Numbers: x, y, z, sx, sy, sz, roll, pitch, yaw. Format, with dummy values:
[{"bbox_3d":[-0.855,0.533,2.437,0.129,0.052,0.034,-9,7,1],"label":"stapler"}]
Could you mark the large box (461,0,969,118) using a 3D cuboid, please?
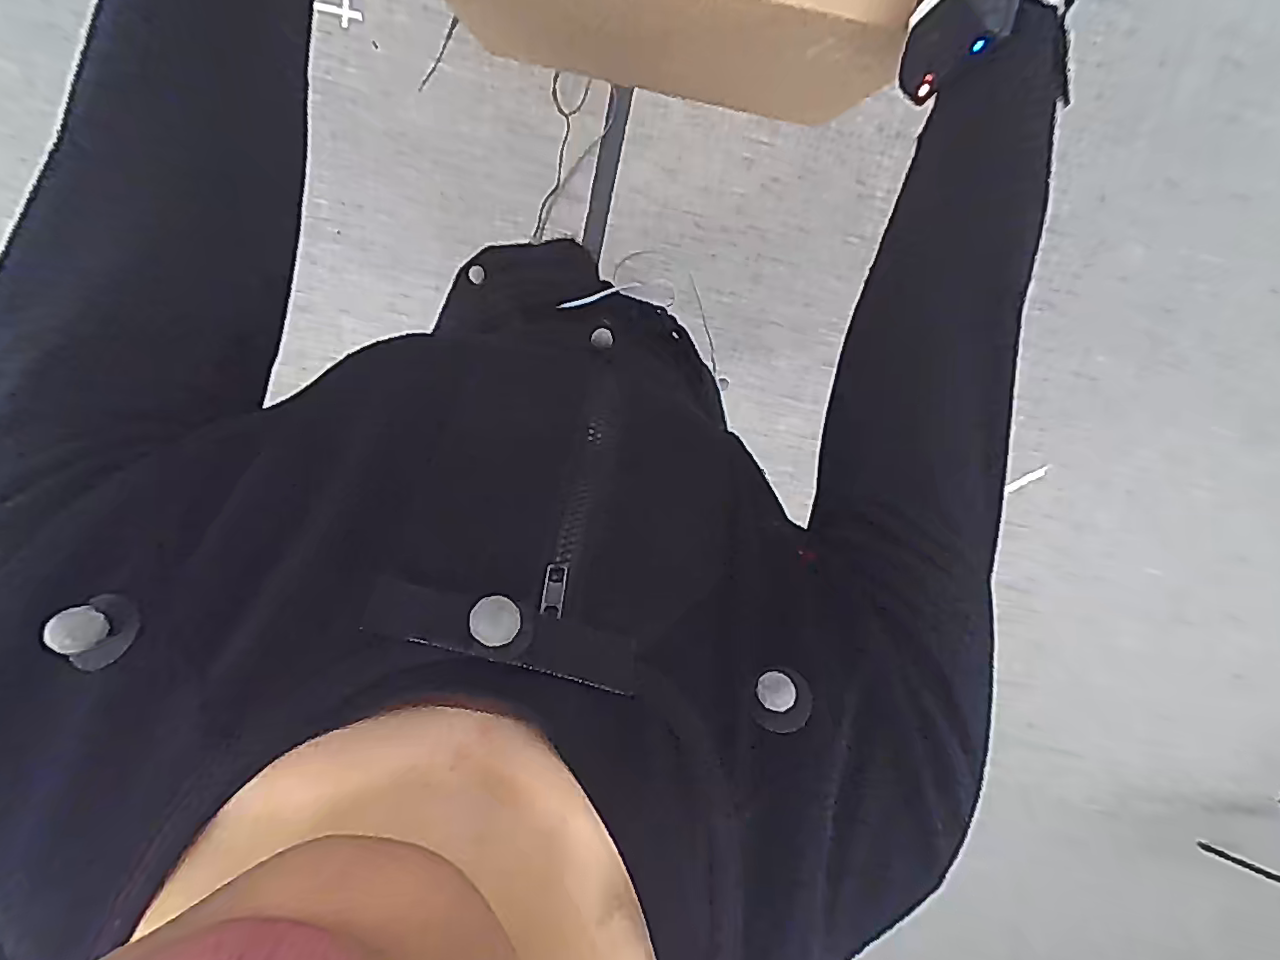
[{"bbox_3d":[0.052,-0.538,0.438,0.408,0.320,0.320,10,115,-4],"label":"large box"}]
